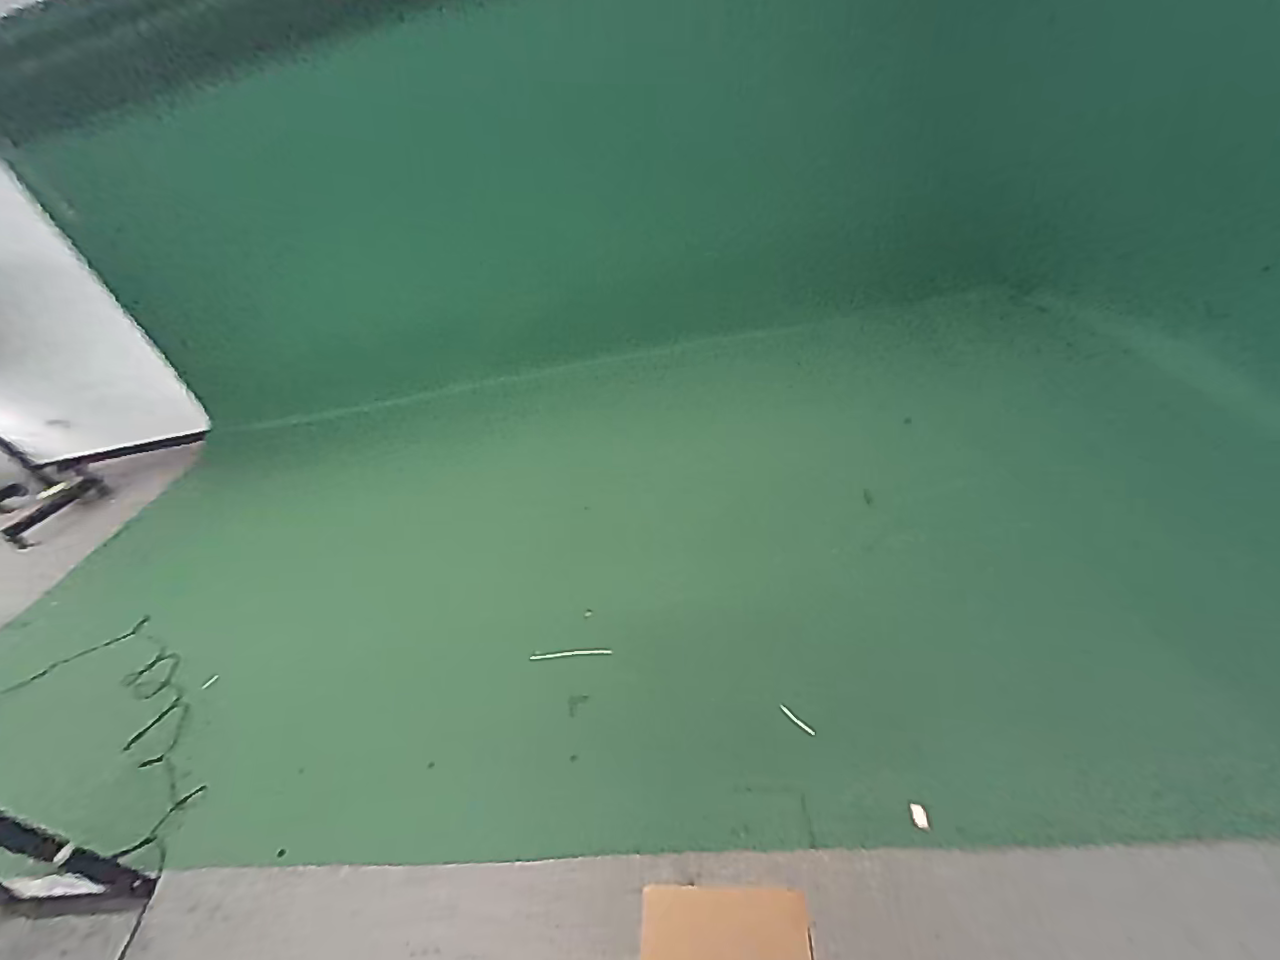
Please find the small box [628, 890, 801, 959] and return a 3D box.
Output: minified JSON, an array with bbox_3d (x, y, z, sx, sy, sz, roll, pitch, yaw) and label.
[{"bbox_3d":[0.086,0.559,0.575,0.179,0.176,0.168,-5,42,8],"label":"small box"}]
